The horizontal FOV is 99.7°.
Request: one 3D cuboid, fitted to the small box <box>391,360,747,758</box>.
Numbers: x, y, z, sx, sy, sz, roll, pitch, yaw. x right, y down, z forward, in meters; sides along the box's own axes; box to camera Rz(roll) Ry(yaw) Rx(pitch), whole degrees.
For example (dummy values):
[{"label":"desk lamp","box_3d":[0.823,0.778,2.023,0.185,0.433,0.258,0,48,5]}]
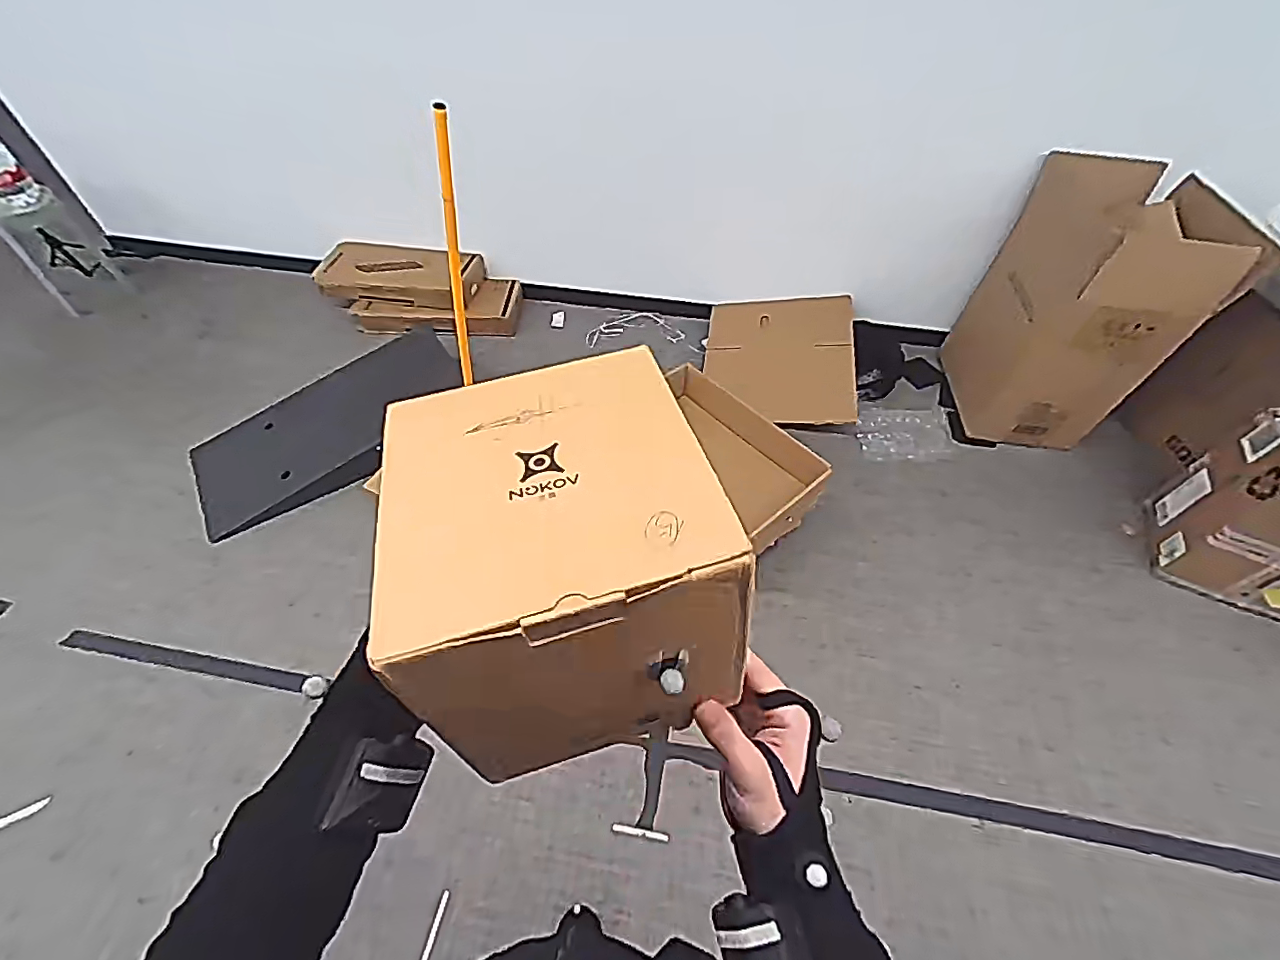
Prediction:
[{"label":"small box","box_3d":[-0.043,0.055,0.350,0.168,0.176,0.179,-16,46,-9]}]
